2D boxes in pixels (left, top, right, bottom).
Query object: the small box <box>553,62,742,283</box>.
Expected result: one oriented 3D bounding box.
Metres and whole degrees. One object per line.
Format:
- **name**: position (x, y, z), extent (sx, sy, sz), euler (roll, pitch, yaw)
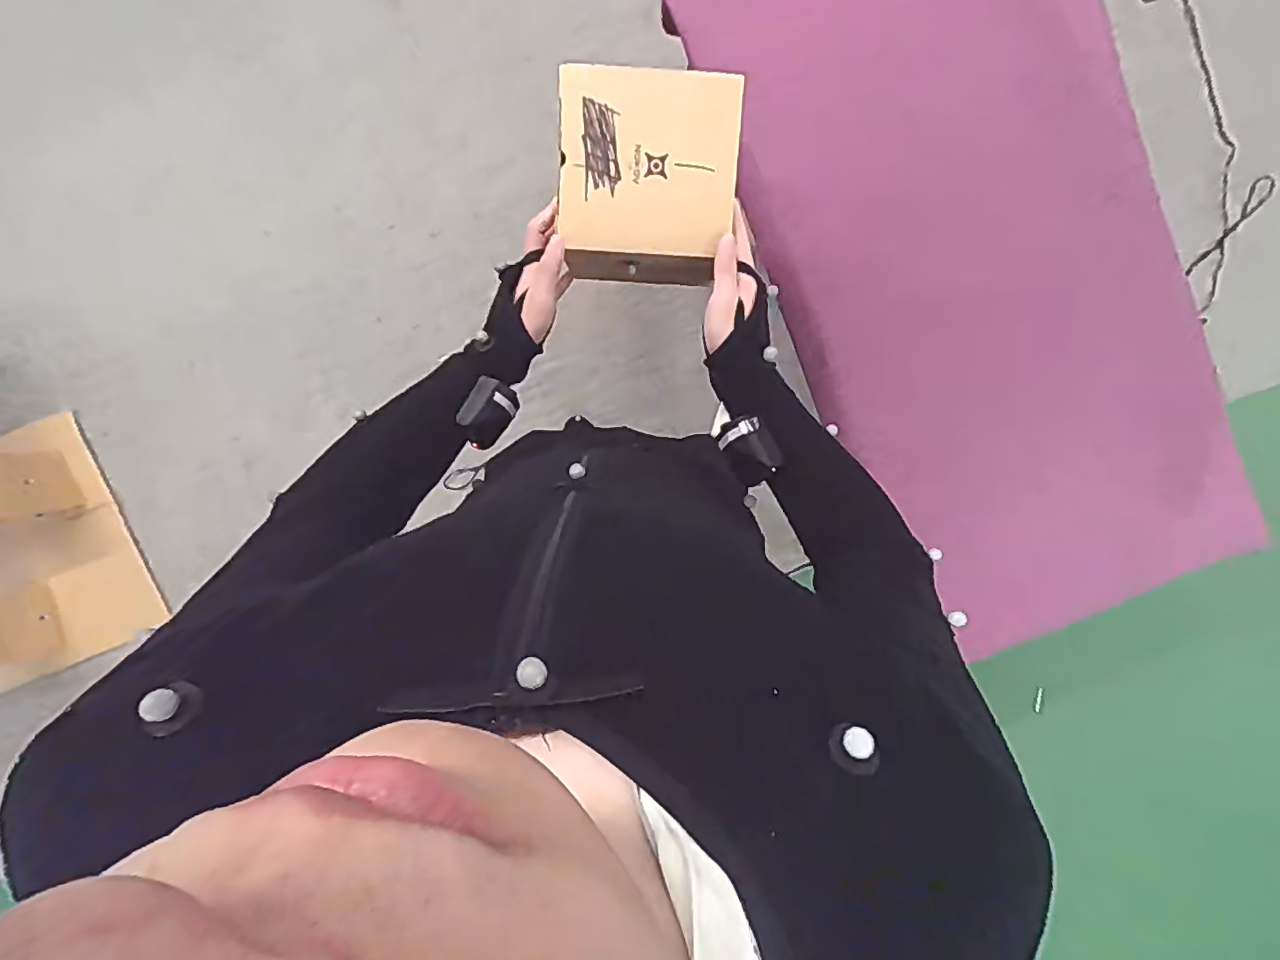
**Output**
- **small box**: position (0.004, -0.320, 0.598), extent (0.179, 0.176, 0.168), euler (2, 100, -2)
